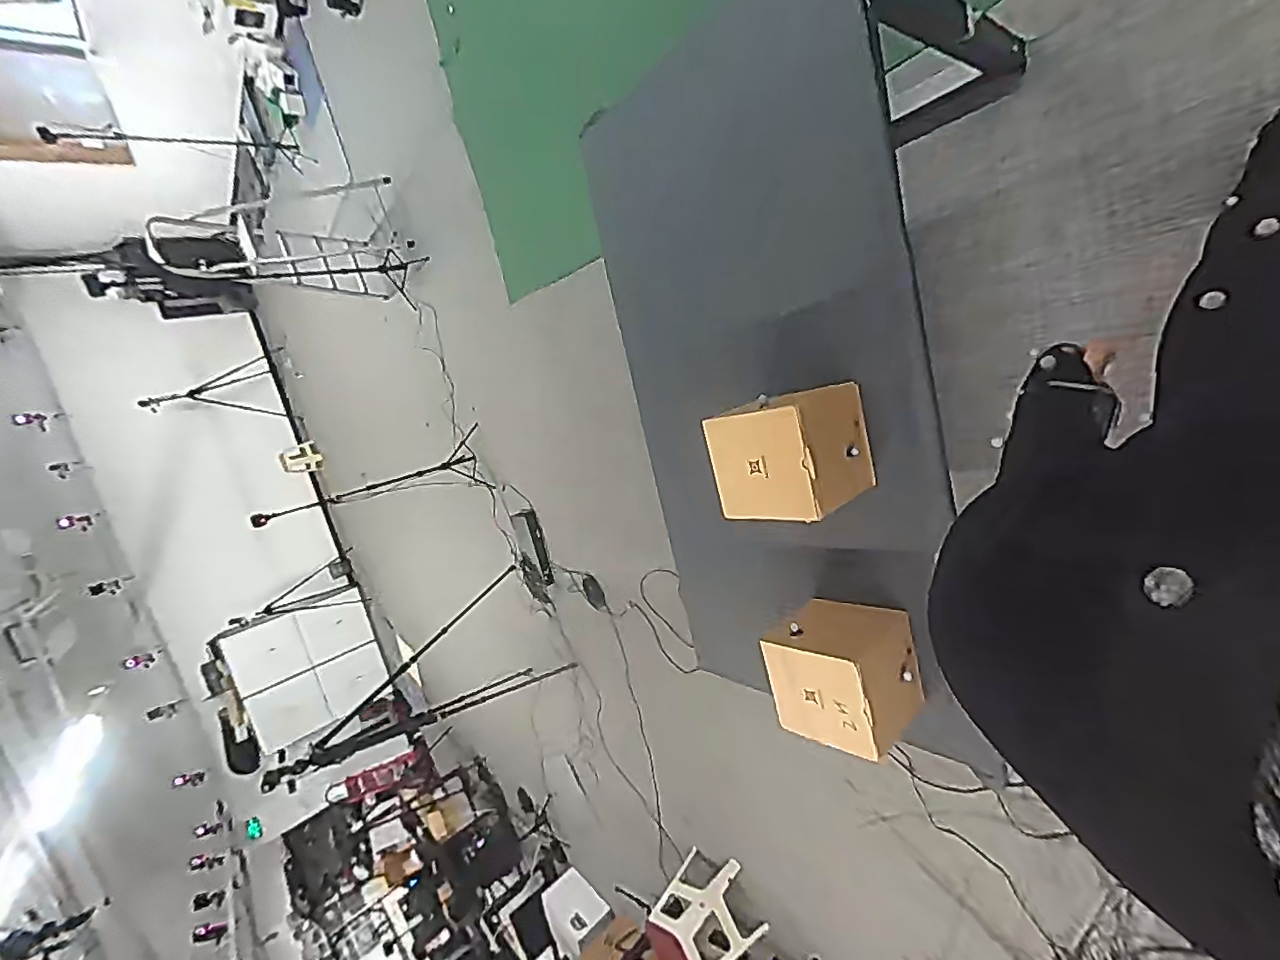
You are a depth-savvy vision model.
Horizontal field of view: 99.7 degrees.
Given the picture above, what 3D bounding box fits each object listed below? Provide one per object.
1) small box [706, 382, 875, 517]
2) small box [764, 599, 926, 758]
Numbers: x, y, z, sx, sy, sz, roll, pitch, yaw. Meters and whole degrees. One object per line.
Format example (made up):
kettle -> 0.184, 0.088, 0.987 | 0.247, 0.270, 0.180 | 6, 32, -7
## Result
small box -> 0.235, -0.048, 0.843 | 0.179, 0.176, 0.168 | -4, 104, 50
small box -> 0.338, 0.310, 0.891 | 0.179, 0.176, 0.168 | -5, 104, 51
